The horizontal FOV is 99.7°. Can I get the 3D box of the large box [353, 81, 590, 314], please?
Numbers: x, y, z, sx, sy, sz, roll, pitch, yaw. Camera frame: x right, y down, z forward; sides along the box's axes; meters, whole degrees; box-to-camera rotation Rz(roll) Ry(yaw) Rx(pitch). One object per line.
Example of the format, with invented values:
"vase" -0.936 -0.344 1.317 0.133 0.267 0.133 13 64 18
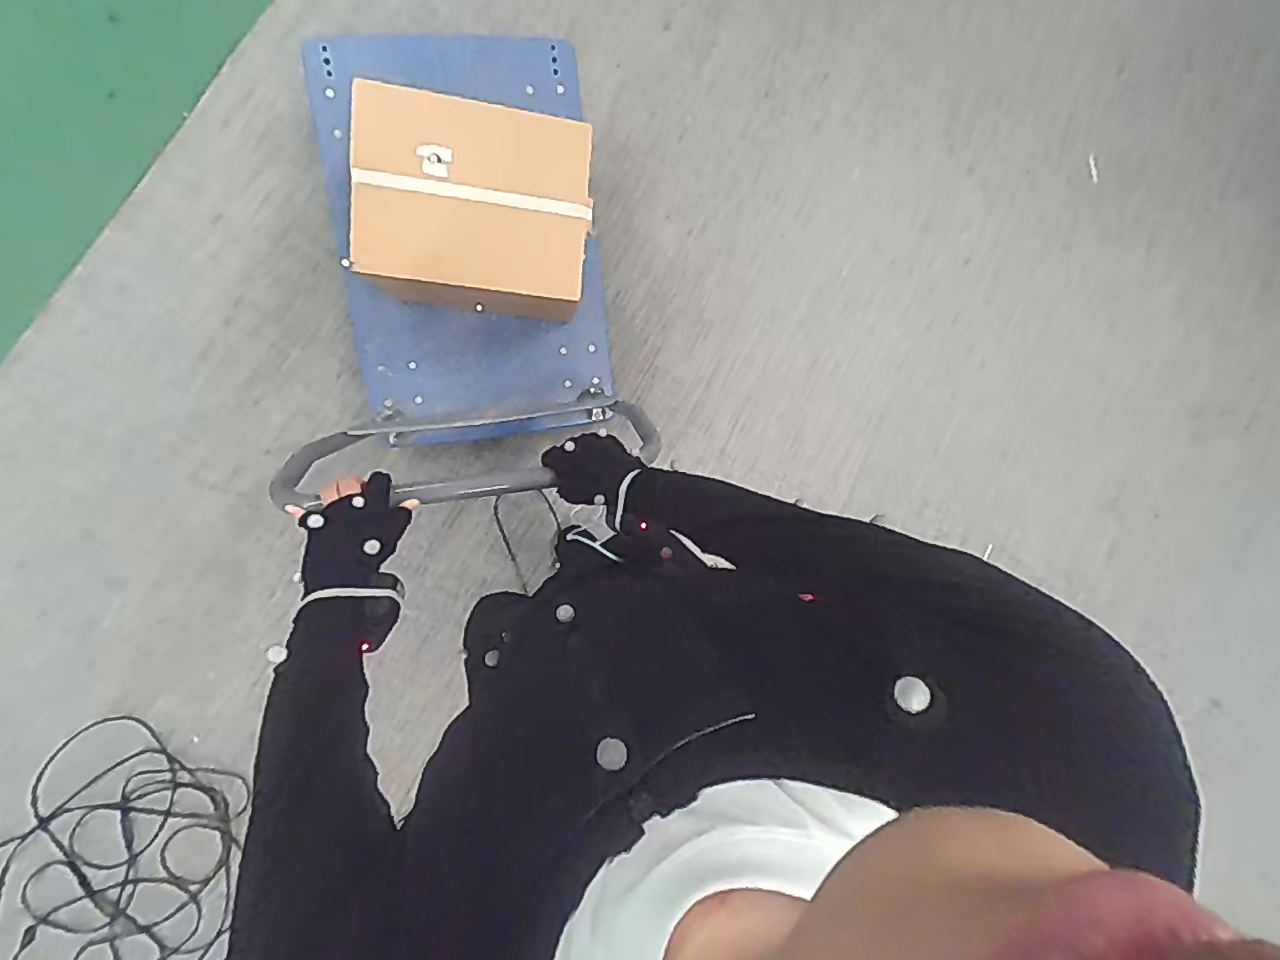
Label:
"large box" -0.319 -0.532 1.105 0.408 0.320 0.320 4 98 -11
